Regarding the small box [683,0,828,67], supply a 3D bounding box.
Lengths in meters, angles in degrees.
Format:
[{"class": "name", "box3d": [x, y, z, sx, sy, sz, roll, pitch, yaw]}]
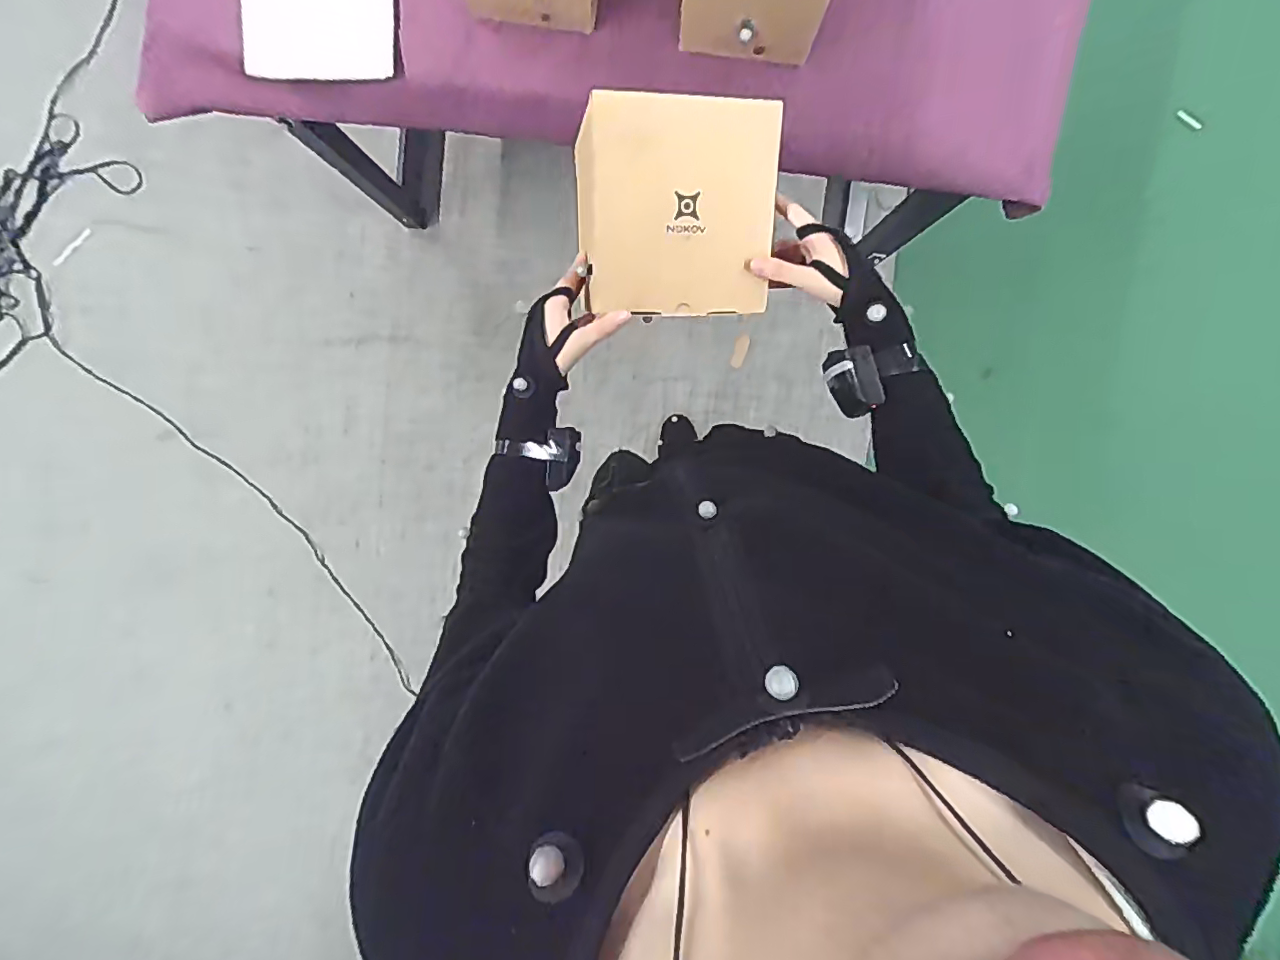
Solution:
[{"class": "small box", "box3d": [0.142, -0.632, 0.624, 0.168, 0.176, 0.179, 8, 94, 2]}]

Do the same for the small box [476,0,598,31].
[{"class": "small box", "box3d": [-0.129, -0.675, 0.627, 0.168, 0.176, 0.179, 8, 96, 0]}]
